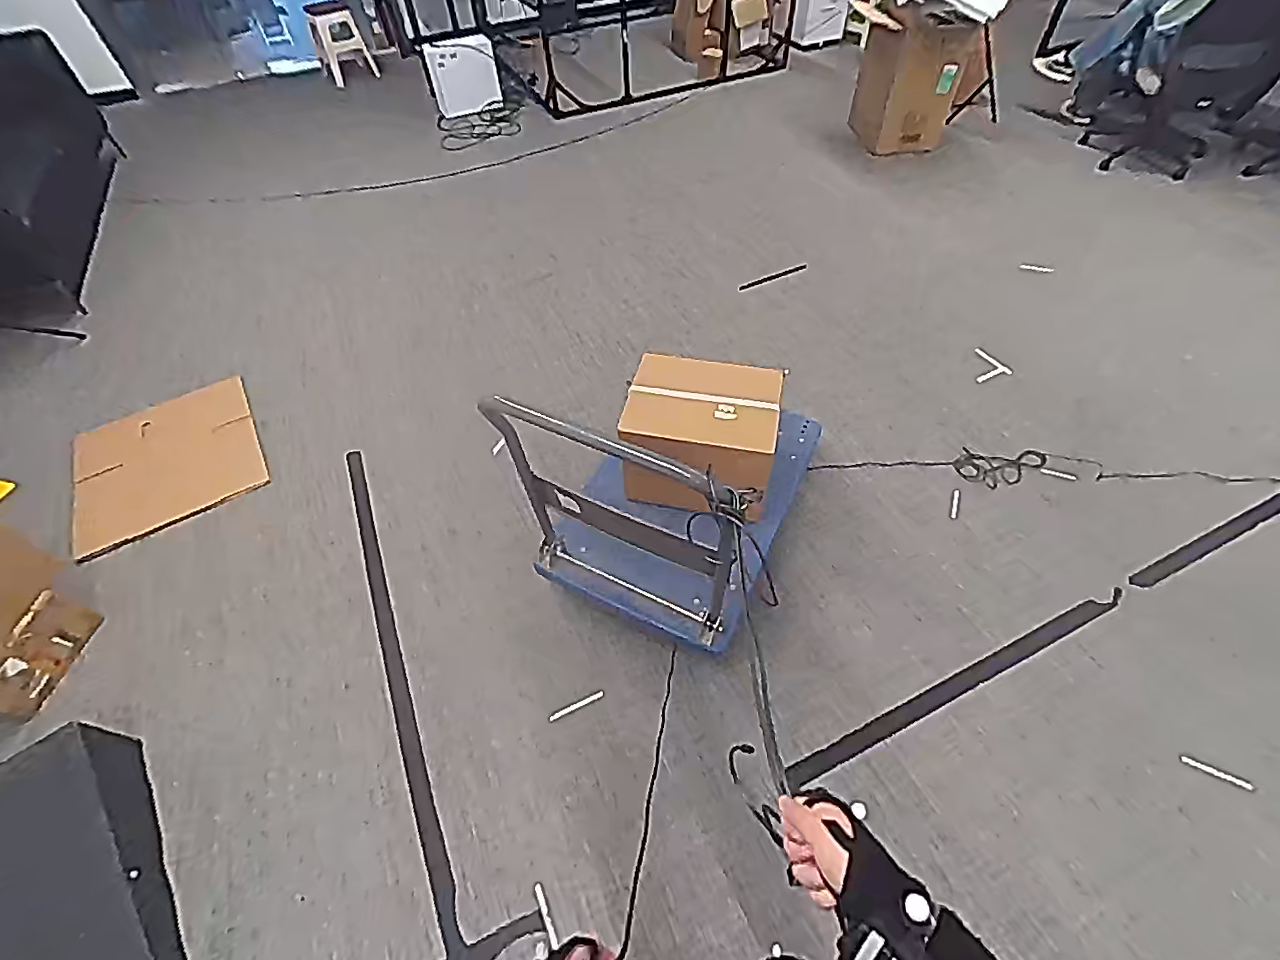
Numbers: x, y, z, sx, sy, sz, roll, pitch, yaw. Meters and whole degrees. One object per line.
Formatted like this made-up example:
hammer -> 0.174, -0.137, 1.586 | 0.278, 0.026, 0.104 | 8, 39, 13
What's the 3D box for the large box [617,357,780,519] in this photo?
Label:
large box -> 0.166, -0.118, 1.559 | 0.408, 0.320, 0.320 | 9, 54, 9
